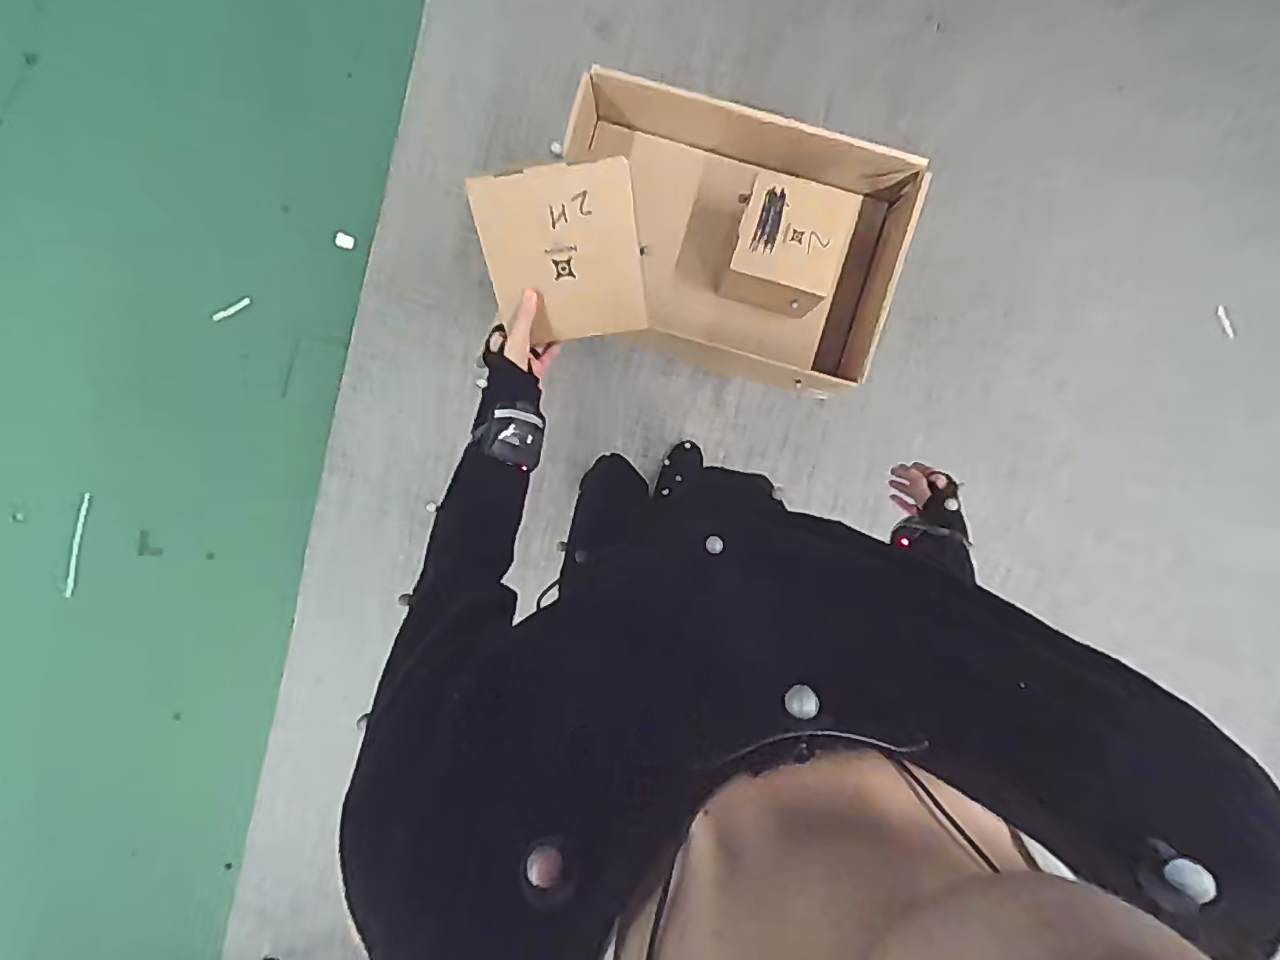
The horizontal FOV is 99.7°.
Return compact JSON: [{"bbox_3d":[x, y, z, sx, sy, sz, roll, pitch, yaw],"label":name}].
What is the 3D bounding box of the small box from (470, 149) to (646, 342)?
[{"bbox_3d":[-0.082,-0.283,0.644,0.168,0.176,0.179,-6,123,2],"label":"small box"}]
